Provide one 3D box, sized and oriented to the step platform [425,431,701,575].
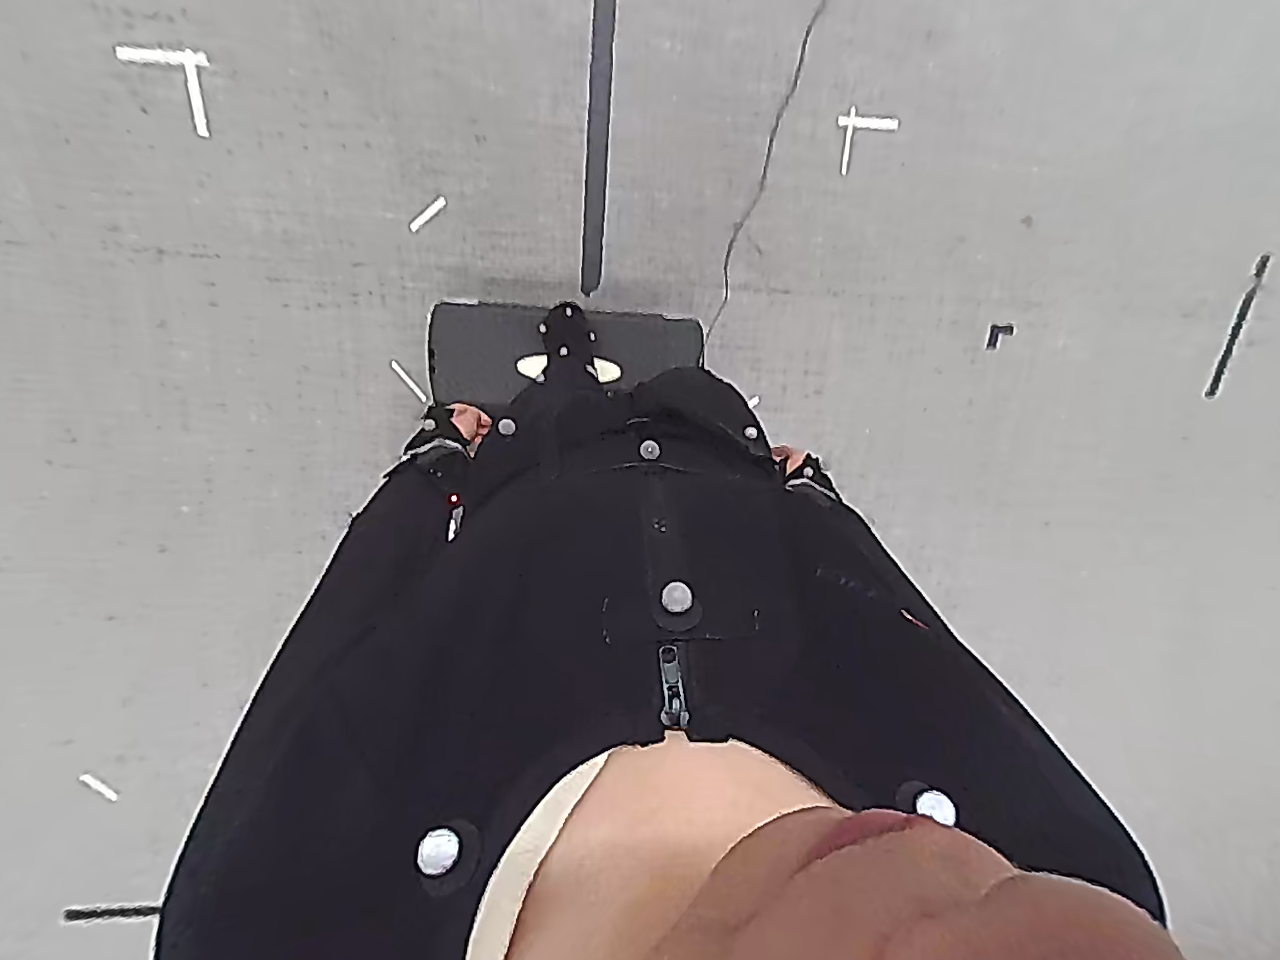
[{"bbox_3d":[-0.187,0.061,1.392,0.684,0.204,0.286,7,104,-6],"label":"step platform"}]
